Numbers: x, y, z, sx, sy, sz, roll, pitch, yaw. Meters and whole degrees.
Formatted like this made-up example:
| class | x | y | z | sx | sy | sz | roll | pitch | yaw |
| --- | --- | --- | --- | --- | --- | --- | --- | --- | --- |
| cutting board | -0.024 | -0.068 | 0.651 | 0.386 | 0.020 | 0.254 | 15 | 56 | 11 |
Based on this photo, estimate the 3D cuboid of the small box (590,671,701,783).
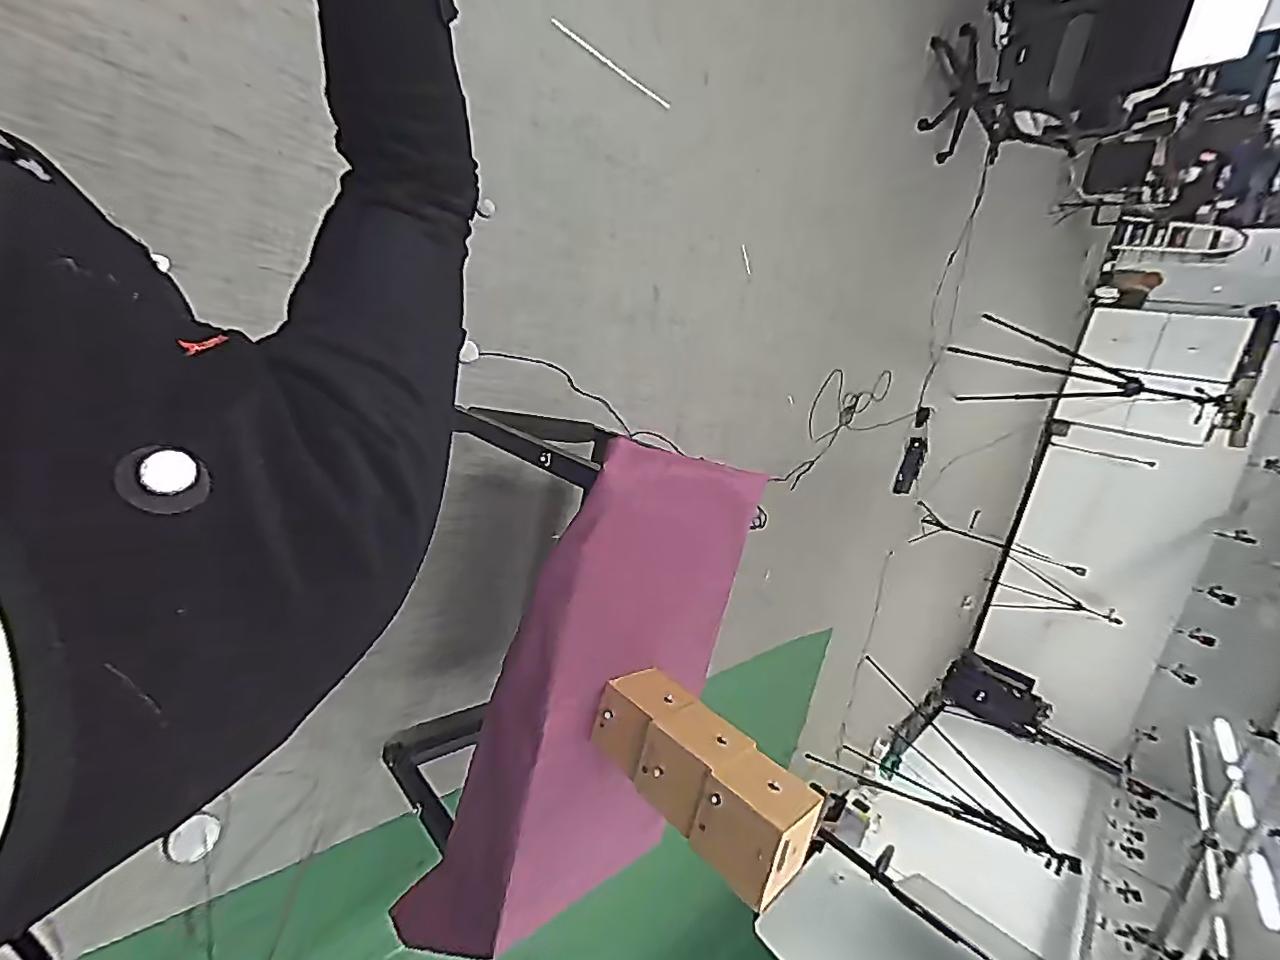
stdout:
| class | x | y | z | sx | sy | sz | roll | pitch | yaw |
| --- | --- | --- | --- | --- | --- | --- | --- | --- | --- |
| small box | 0.012 | 0.577 | 1.290 | 0.179 | 0.176 | 0.168 | 8 | 100 | -47 |

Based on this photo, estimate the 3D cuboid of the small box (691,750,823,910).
| class | x | y | z | sx | sy | sz | roll | pitch | yaw |
| --- | --- | --- | --- | --- | --- | --- | --- | --- | --- |
| small box | 0.224 | 0.666 | 1.055 | 0.179 | 0.176 | 0.168 | 6 | 101 | -49 |

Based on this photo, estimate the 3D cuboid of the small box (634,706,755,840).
| class | x | y | z | sx | sy | sz | roll | pitch | yaw |
| --- | --- | --- | --- | --- | --- | --- | --- | --- | --- |
| small box | 0.117 | 0.617 | 1.170 | 0.179 | 0.176 | 0.168 | 6 | 101 | -48 |
